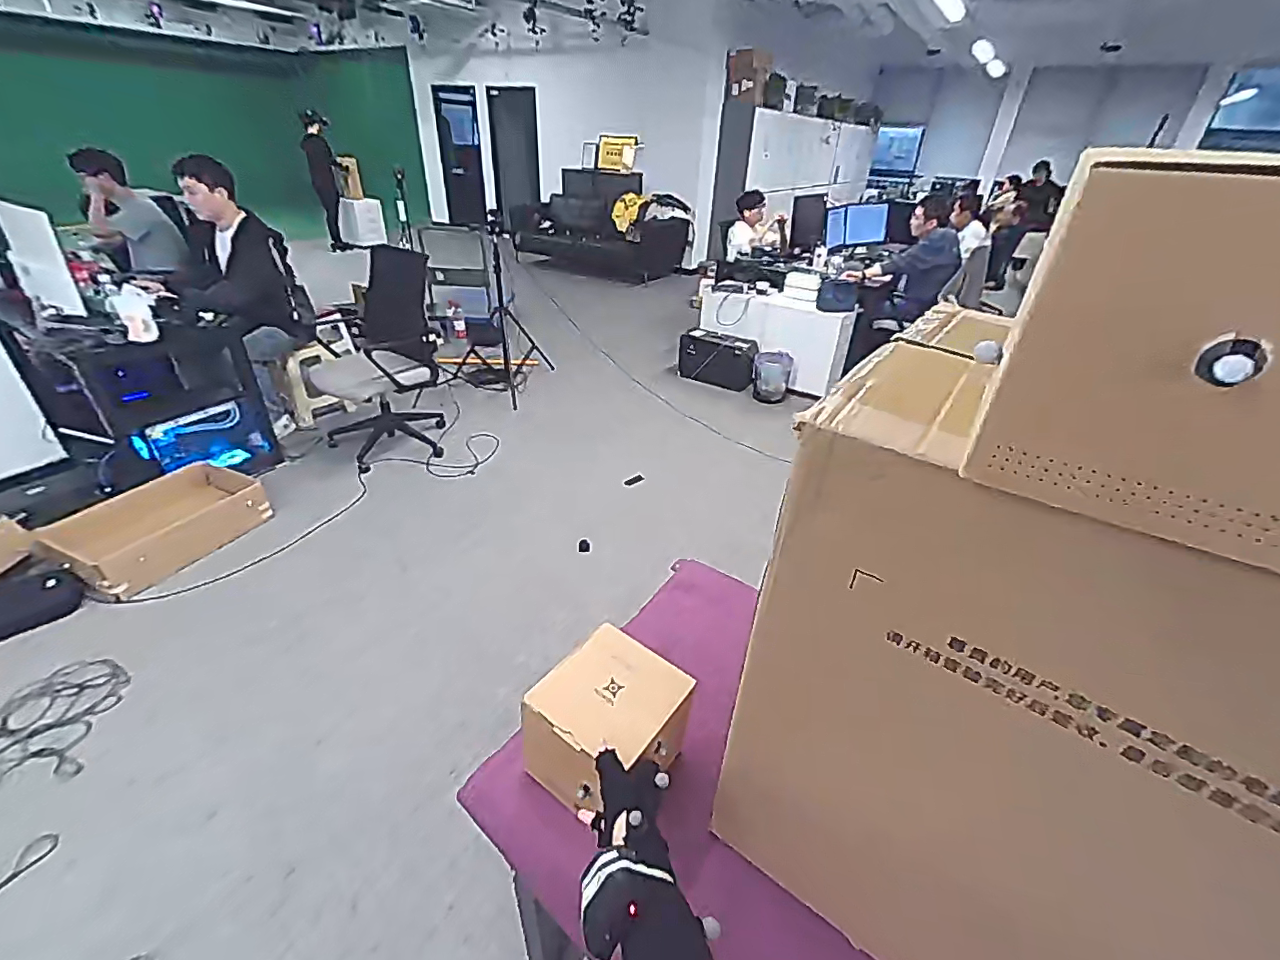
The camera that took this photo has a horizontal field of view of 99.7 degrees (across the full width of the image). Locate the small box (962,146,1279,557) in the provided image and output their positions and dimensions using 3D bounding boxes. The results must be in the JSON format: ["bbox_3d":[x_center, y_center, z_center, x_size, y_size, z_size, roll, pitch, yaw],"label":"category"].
[{"bbox_3d":[0.311,-0.081,0.299,0.179,0.176,0.168,21,37,28],"label":"small box"}]

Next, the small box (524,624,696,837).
[{"bbox_3d":[-0.042,0.347,0.759,0.168,0.176,0.179,26,36,27],"label":"small box"}]
